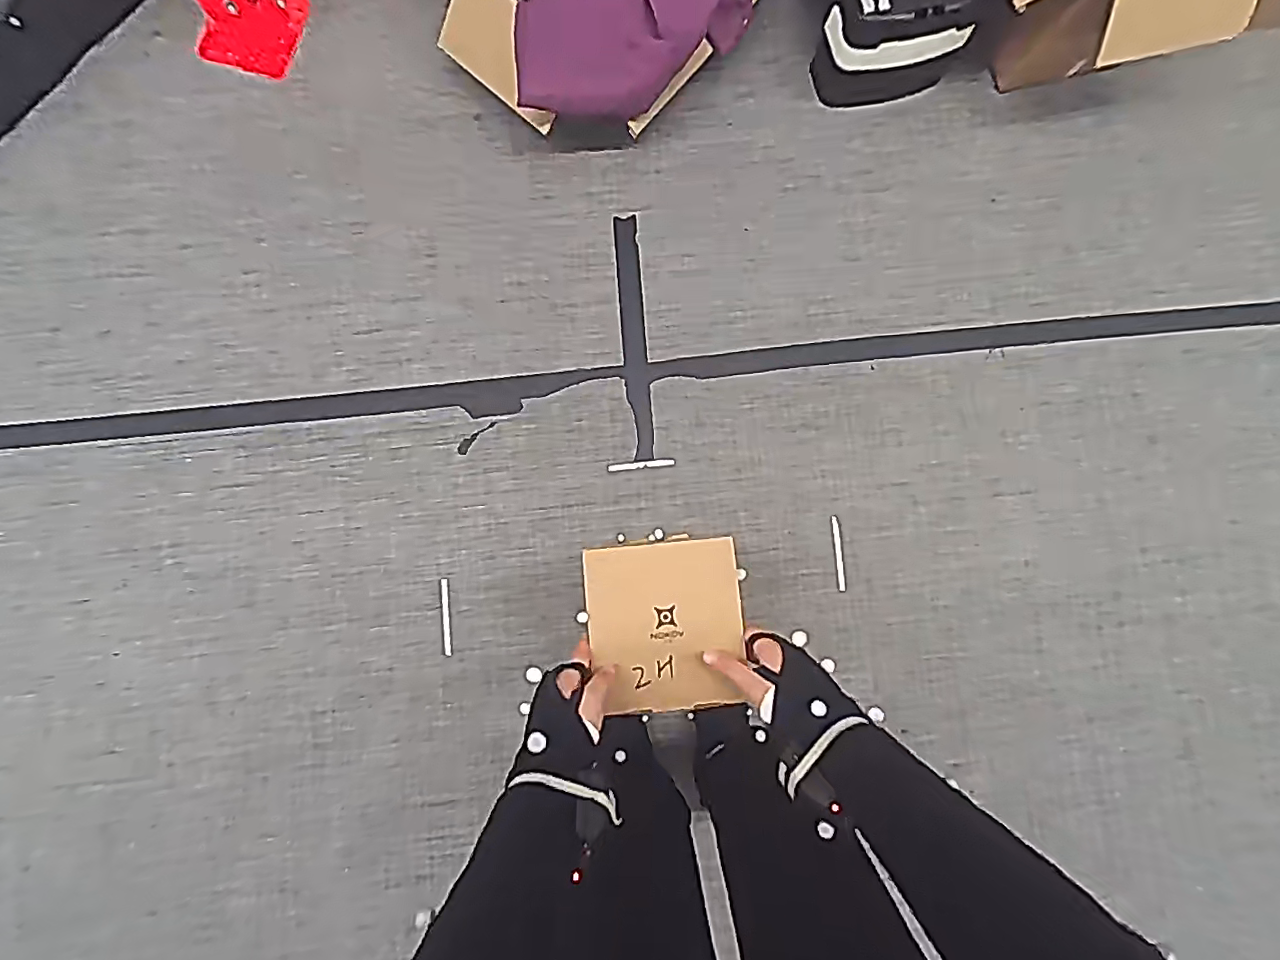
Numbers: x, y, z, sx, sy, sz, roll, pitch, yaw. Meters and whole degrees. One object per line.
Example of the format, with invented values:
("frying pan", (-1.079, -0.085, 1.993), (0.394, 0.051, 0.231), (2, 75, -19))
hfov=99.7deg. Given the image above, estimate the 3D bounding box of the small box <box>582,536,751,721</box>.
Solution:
("small box", (0.024, 0.161, 0.638), (0.168, 0.176, 0.179), (-6, 85, 0))
